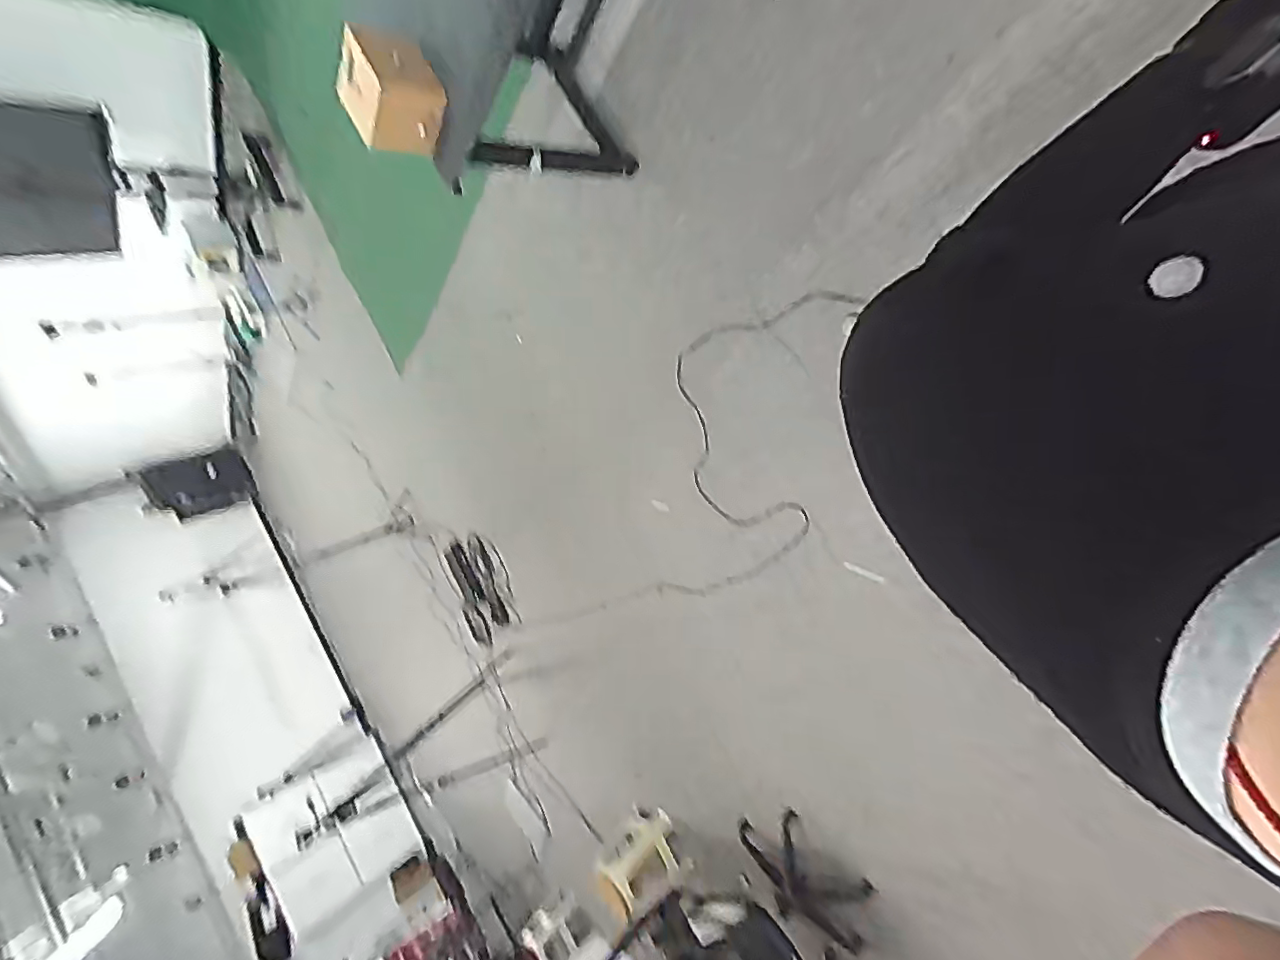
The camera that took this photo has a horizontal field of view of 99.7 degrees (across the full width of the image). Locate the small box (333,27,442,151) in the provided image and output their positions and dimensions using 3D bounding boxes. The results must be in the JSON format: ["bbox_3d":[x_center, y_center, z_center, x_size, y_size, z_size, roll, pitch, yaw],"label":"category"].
[{"bbox_3d":[-0.615,-0.936,1.317,0.168,0.176,0.179,-38,80,47],"label":"small box"}]
